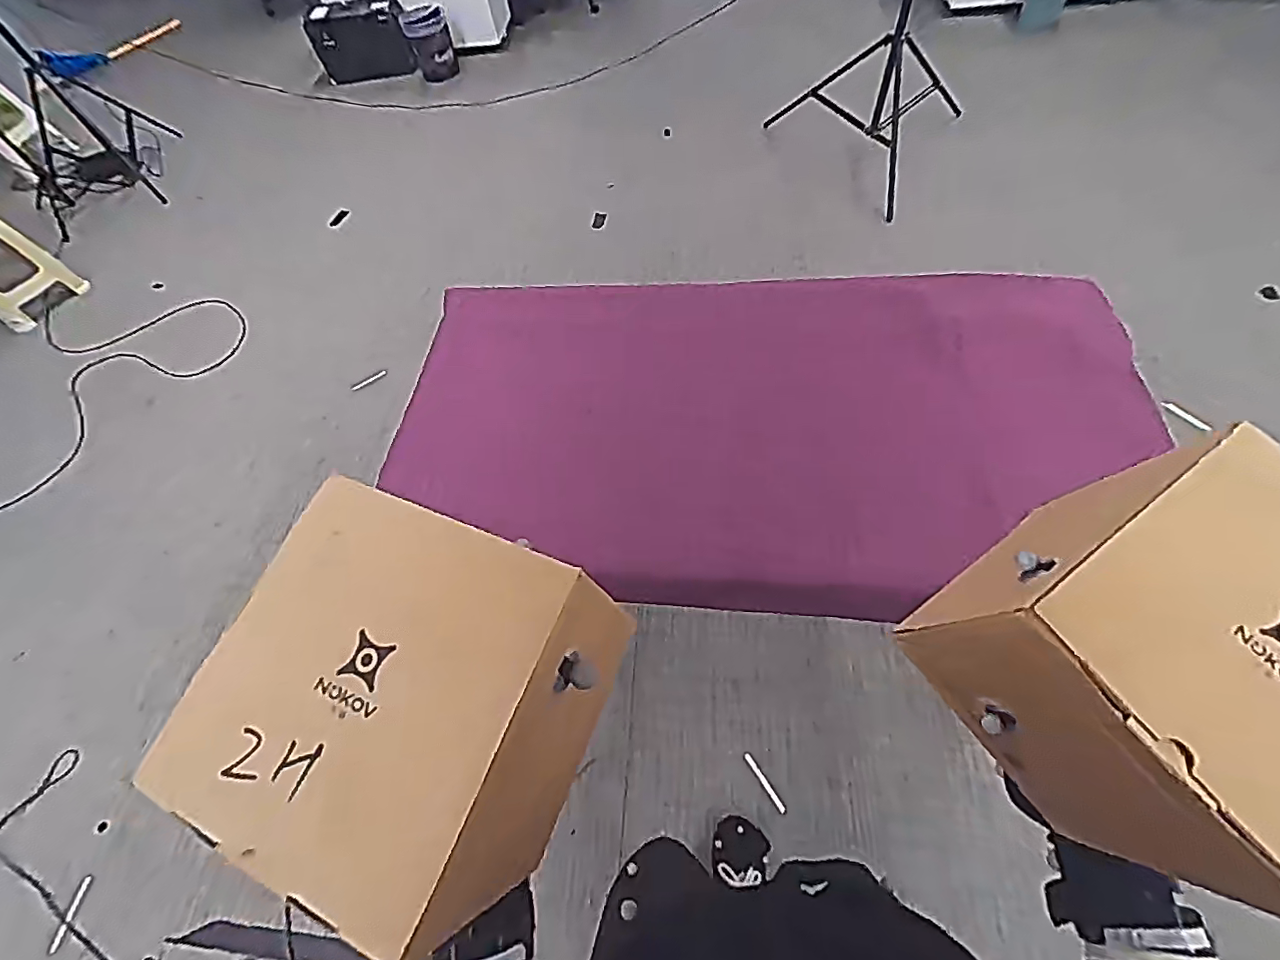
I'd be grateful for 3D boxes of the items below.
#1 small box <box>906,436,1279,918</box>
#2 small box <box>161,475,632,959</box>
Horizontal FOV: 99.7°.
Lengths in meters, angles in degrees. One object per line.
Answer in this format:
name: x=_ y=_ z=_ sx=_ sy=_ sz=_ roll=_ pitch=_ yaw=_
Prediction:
small box: x=0.311 y=0.108 z=0.337 sx=0.179 sy=0.176 sz=0.168 roll=-35 pitch=73 yaw=-10
small box: x=-0.115 y=0.127 z=0.338 sx=0.168 sy=0.176 sz=0.179 roll=18 pitch=72 yaw=17
